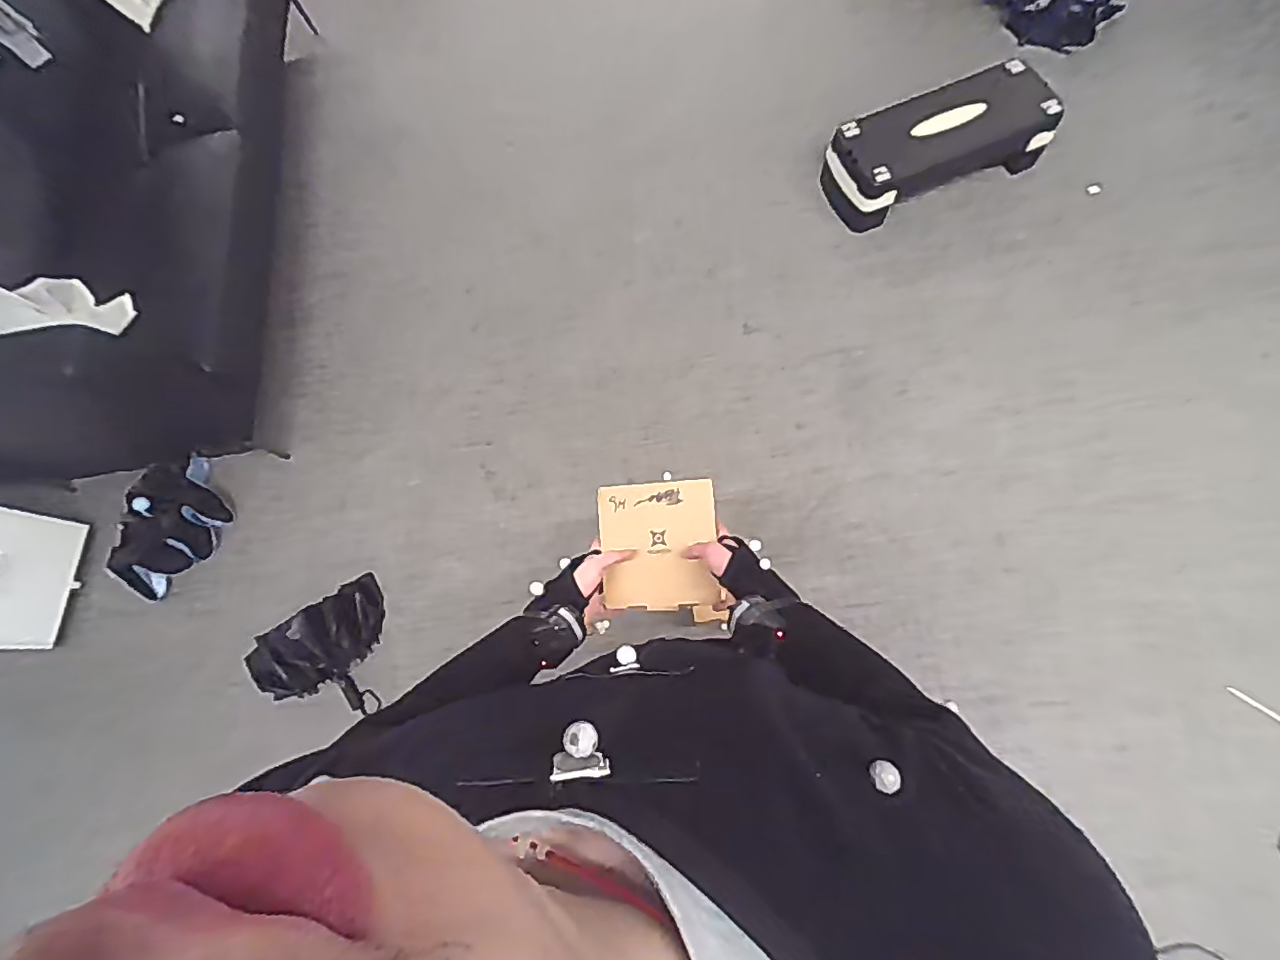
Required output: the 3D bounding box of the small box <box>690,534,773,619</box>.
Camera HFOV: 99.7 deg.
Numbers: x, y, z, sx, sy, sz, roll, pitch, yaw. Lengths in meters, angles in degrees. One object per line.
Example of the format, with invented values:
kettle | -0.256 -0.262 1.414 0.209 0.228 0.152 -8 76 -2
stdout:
small box | 0.219 0.242 1.315 0.168 0.176 0.179 -9 72 4
